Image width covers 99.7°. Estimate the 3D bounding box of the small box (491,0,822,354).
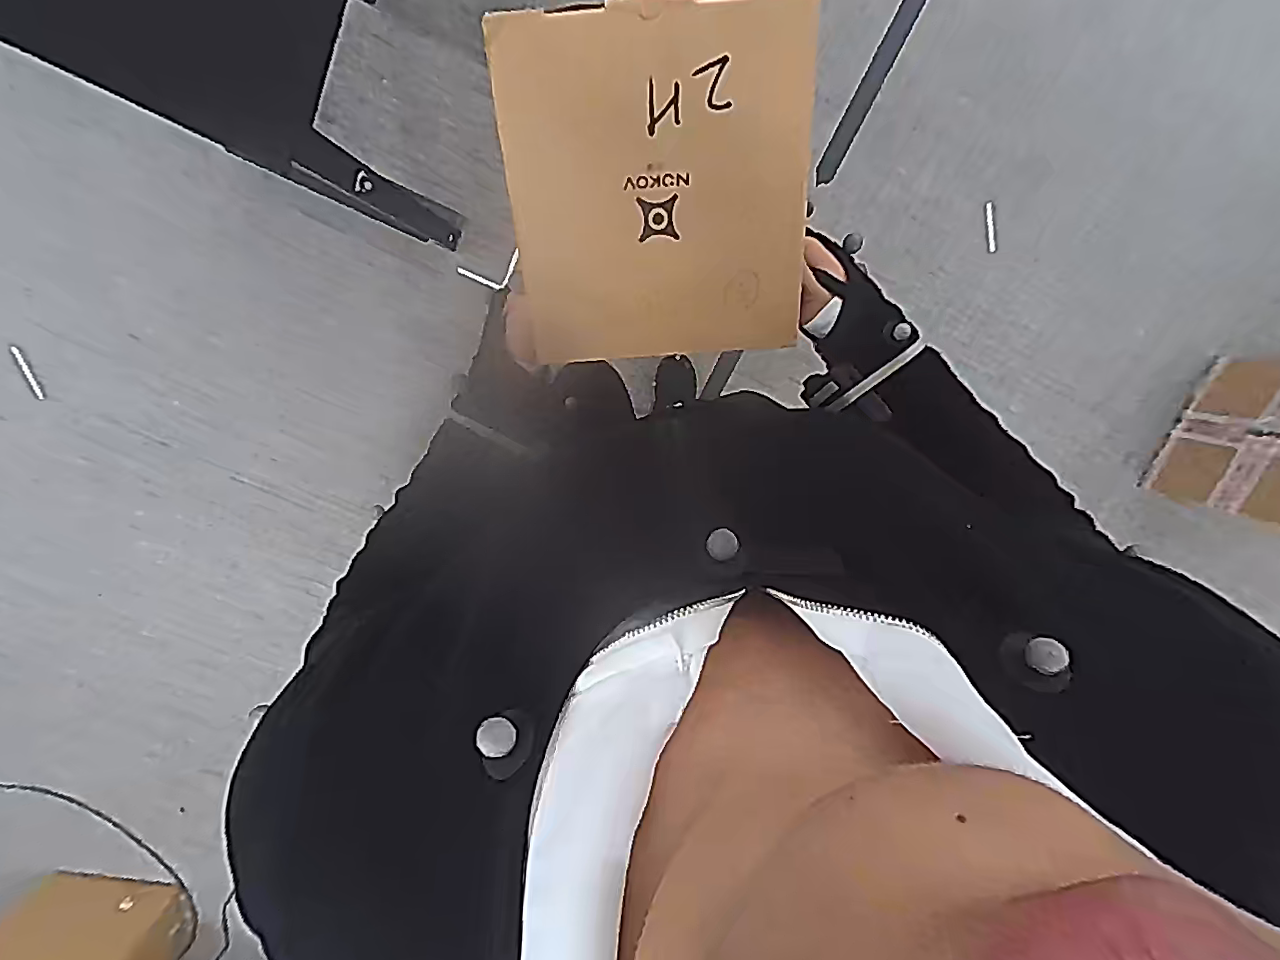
[{"bbox_3d":[0.012,-0.198,0.373,0.168,0.176,0.179,-4,118,1],"label":"small box"}]
